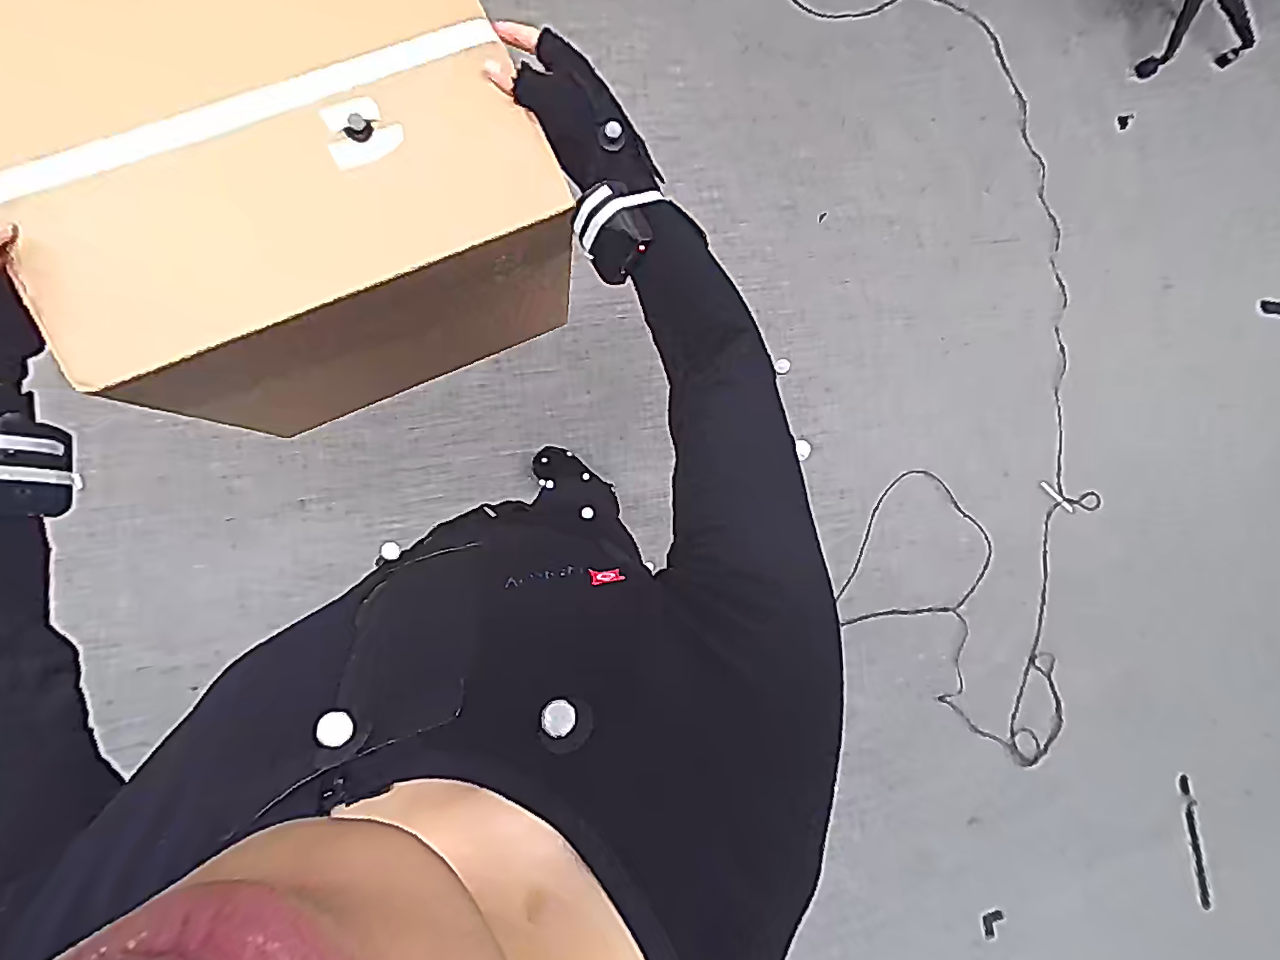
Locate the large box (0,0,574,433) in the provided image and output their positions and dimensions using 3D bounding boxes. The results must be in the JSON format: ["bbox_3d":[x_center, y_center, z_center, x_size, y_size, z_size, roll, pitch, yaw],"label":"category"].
[{"bbox_3d":[-0.320,-0.288,0.584,0.408,0.320,0.320,-27,92,-9],"label":"large box"}]
